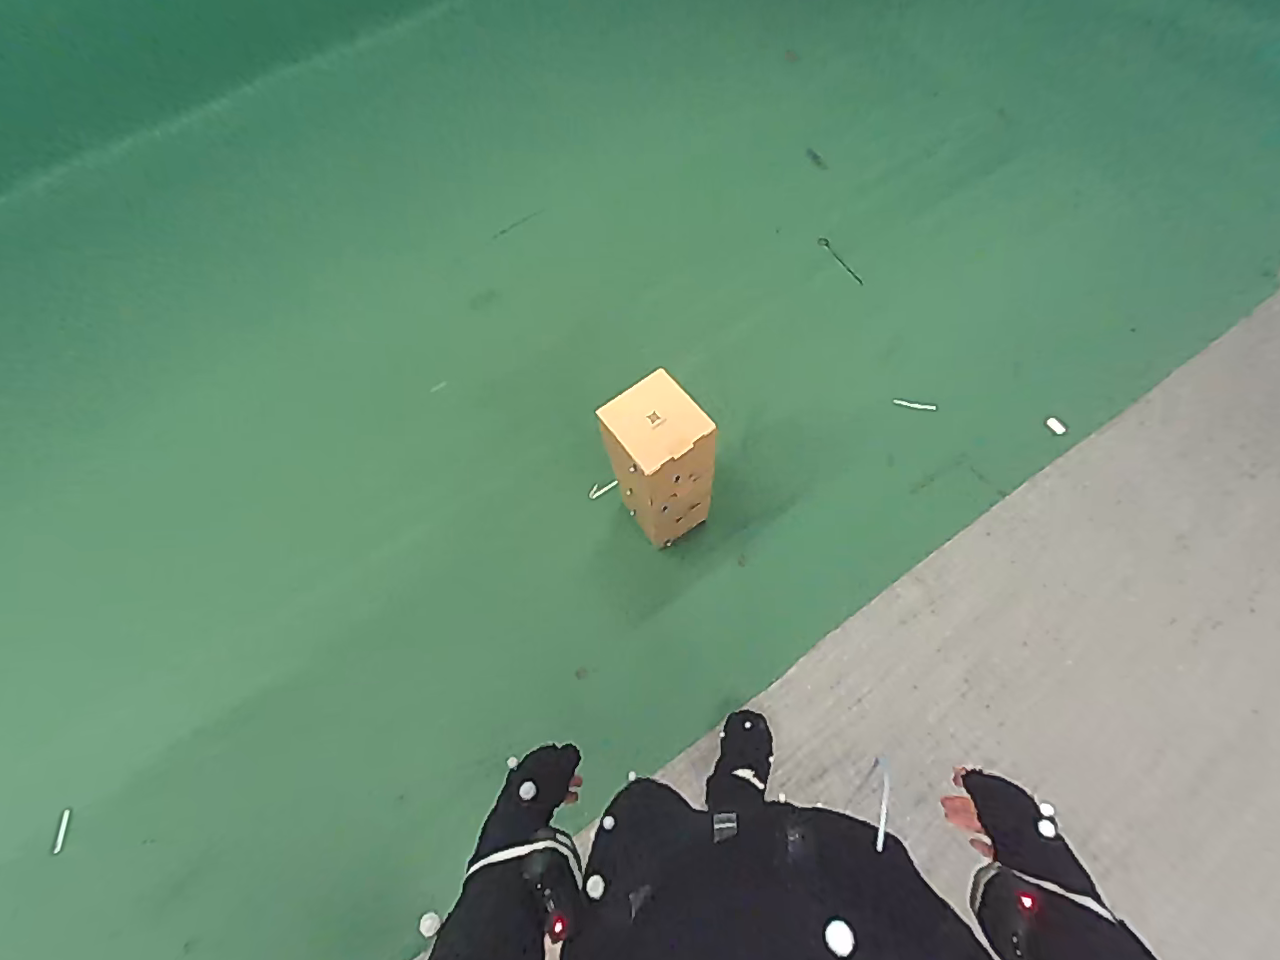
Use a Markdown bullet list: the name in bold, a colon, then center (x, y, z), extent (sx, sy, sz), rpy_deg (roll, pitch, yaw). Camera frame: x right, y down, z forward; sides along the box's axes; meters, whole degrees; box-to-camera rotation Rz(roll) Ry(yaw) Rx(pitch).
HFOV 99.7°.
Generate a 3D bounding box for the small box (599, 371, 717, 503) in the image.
- **small box**: center (0.036, -0.082, 1.113), extent (0.168, 0.176, 0.179), rpy_deg (-35, 69, -11)

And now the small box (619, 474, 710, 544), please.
- **small box**: center (0.066, 0.050, 1.412), extent (0.168, 0.176, 0.179), rpy_deg (-32, 68, -10)
